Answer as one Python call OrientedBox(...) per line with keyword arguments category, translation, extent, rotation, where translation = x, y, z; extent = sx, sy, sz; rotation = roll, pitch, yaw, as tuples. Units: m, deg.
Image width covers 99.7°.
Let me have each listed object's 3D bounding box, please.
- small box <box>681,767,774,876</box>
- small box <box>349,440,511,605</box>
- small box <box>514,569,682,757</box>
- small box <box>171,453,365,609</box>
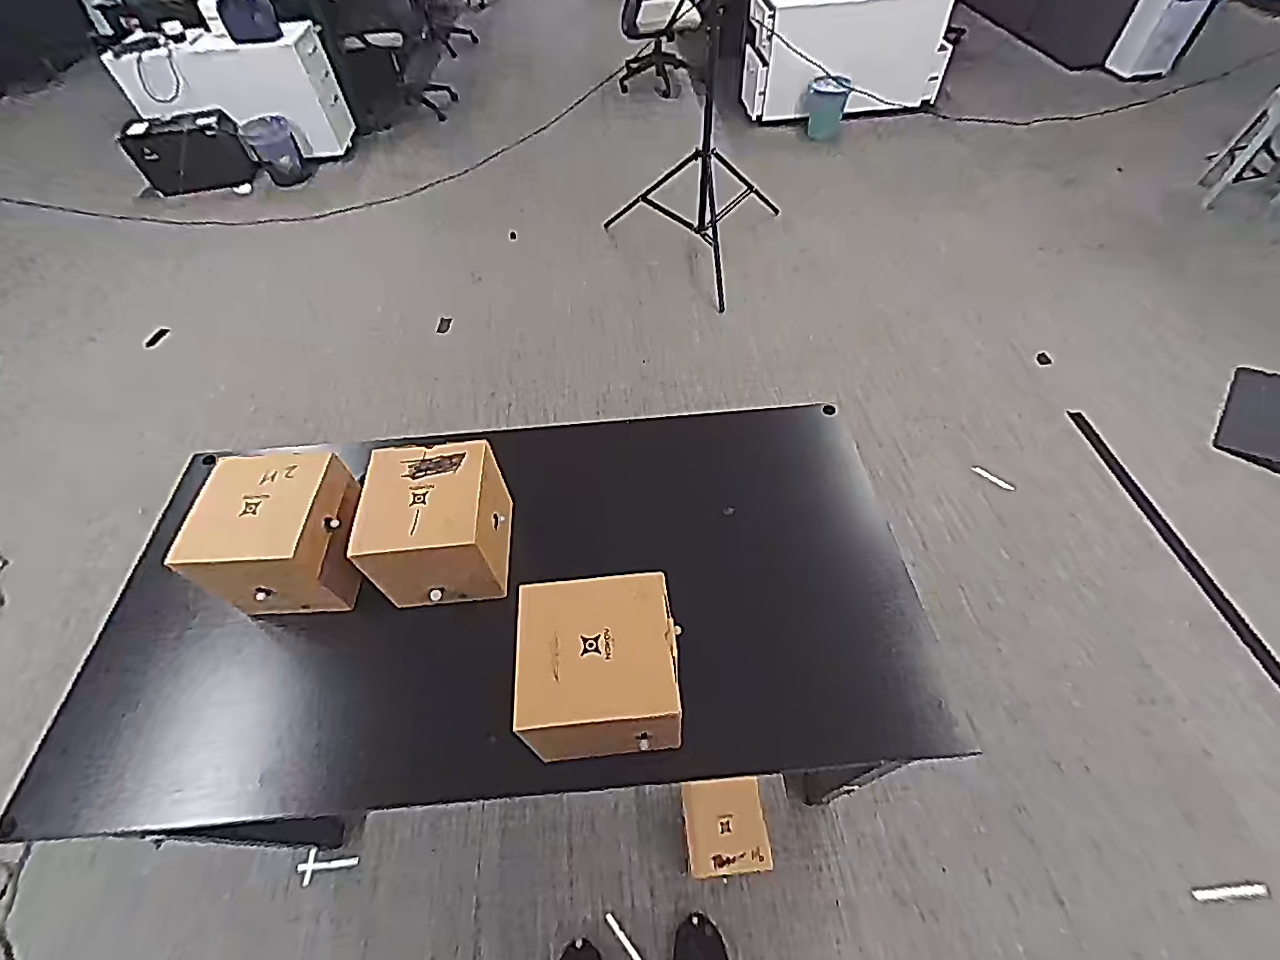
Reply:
OrientedBox(category="small box", translation=(0.181, 0.745, 1.177), extent=(0.168, 0.176, 0.179), rotation=(-7, 53, -1))
OrientedBox(category="small box", translation=(-0.292, 0.065, 0.798), extent=(0.168, 0.176, 0.179), rotation=(-6, 54, -1))
OrientedBox(category="small box", translation=(-0.047, 0.229, 0.666), extent=(0.179, 0.176, 0.168), rotation=(-7, 52, -1))
OrientedBox(category="small box", translation=(-0.516, 0.082, 0.798), extent=(0.168, 0.176, 0.179), rotation=(-2, 53, 0))
